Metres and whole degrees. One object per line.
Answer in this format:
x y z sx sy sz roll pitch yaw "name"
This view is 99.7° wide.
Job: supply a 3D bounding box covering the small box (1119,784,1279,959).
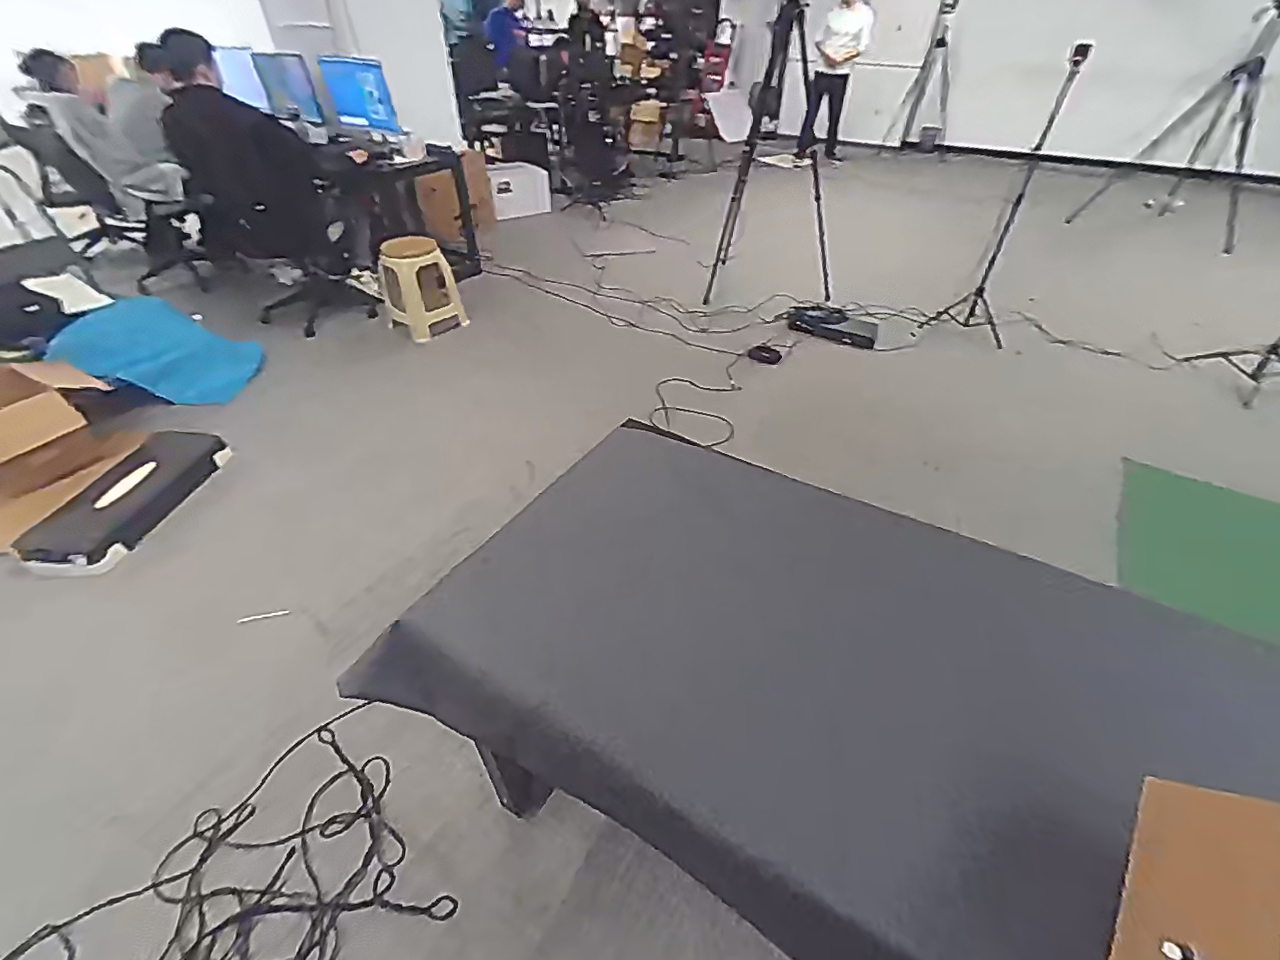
0.507 0.361 0.399 0.168 0.176 0.179 21 74 18 "small box"
